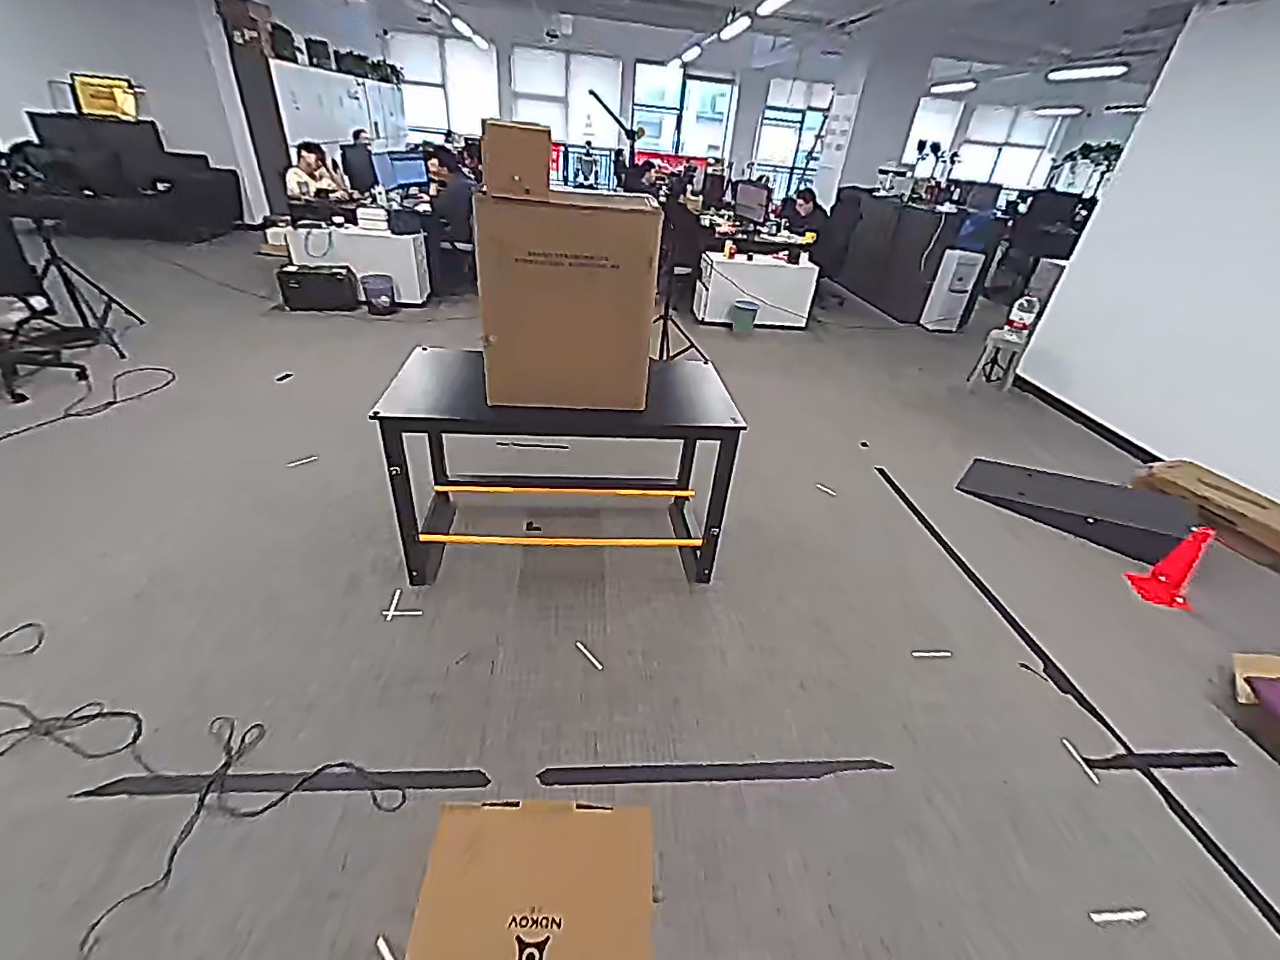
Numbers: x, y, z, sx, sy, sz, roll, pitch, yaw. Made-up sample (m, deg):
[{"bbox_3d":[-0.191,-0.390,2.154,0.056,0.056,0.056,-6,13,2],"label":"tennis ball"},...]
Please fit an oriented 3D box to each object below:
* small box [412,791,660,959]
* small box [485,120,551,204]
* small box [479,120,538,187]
[{"bbox_3d":[-0.074,0.367,0.420,0.168,0.176,0.179,3,44,-2],"label":"small box"},{"bbox_3d":[-0.329,-0.866,1.471,0.168,0.176,0.179,0,36,-11],"label":"small box"},{"bbox_3d":[-0.386,-0.970,1.620,0.168,0.176,0.179,-1,33,-12],"label":"small box"}]
